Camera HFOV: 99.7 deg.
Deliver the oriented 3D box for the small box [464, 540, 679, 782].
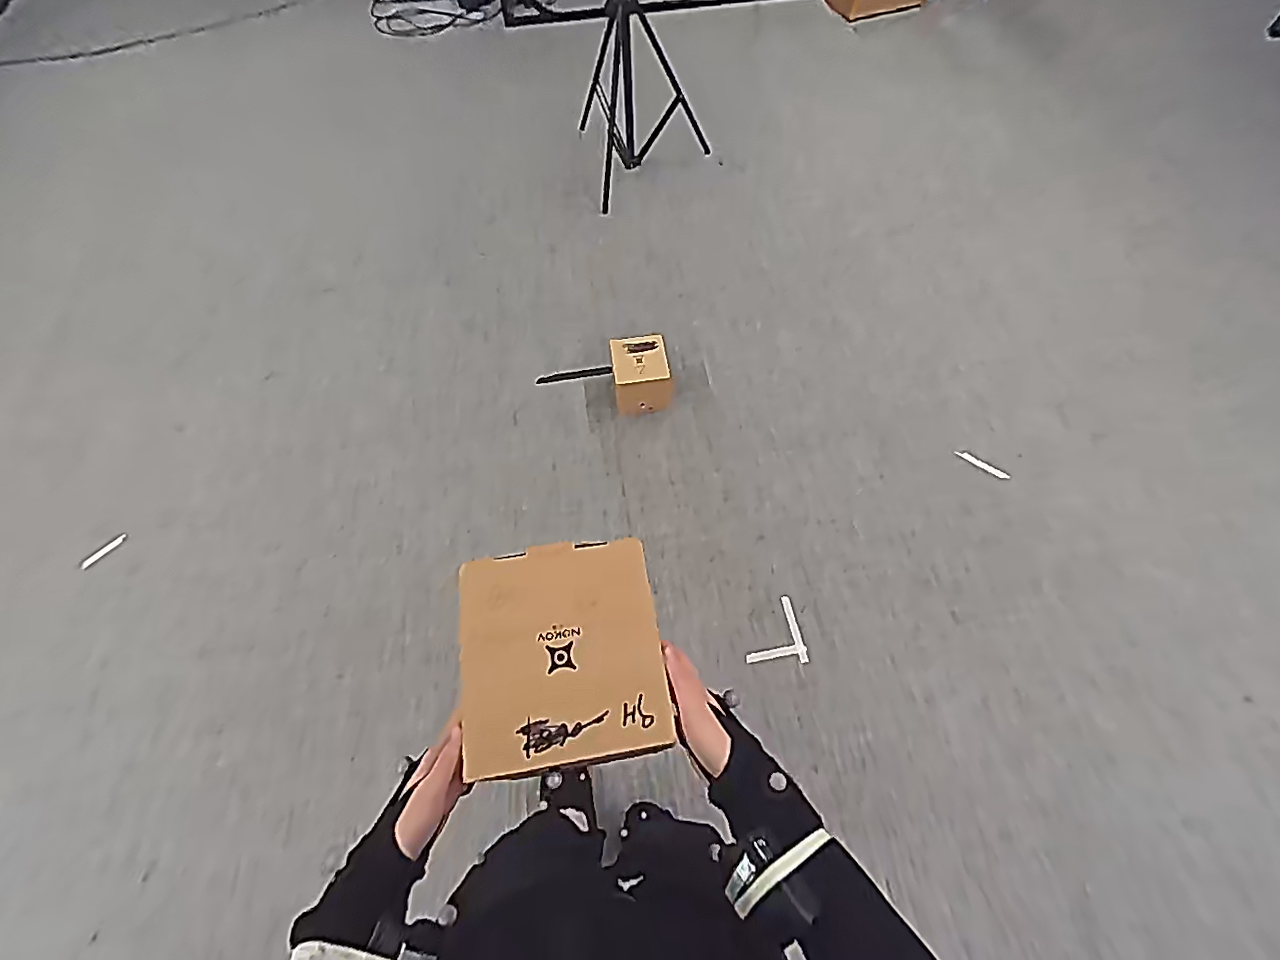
[{"bbox_3d":[-0.066,0.178,0.518,0.168,0.176,0.179,-8,62,-6],"label":"small box"}]
